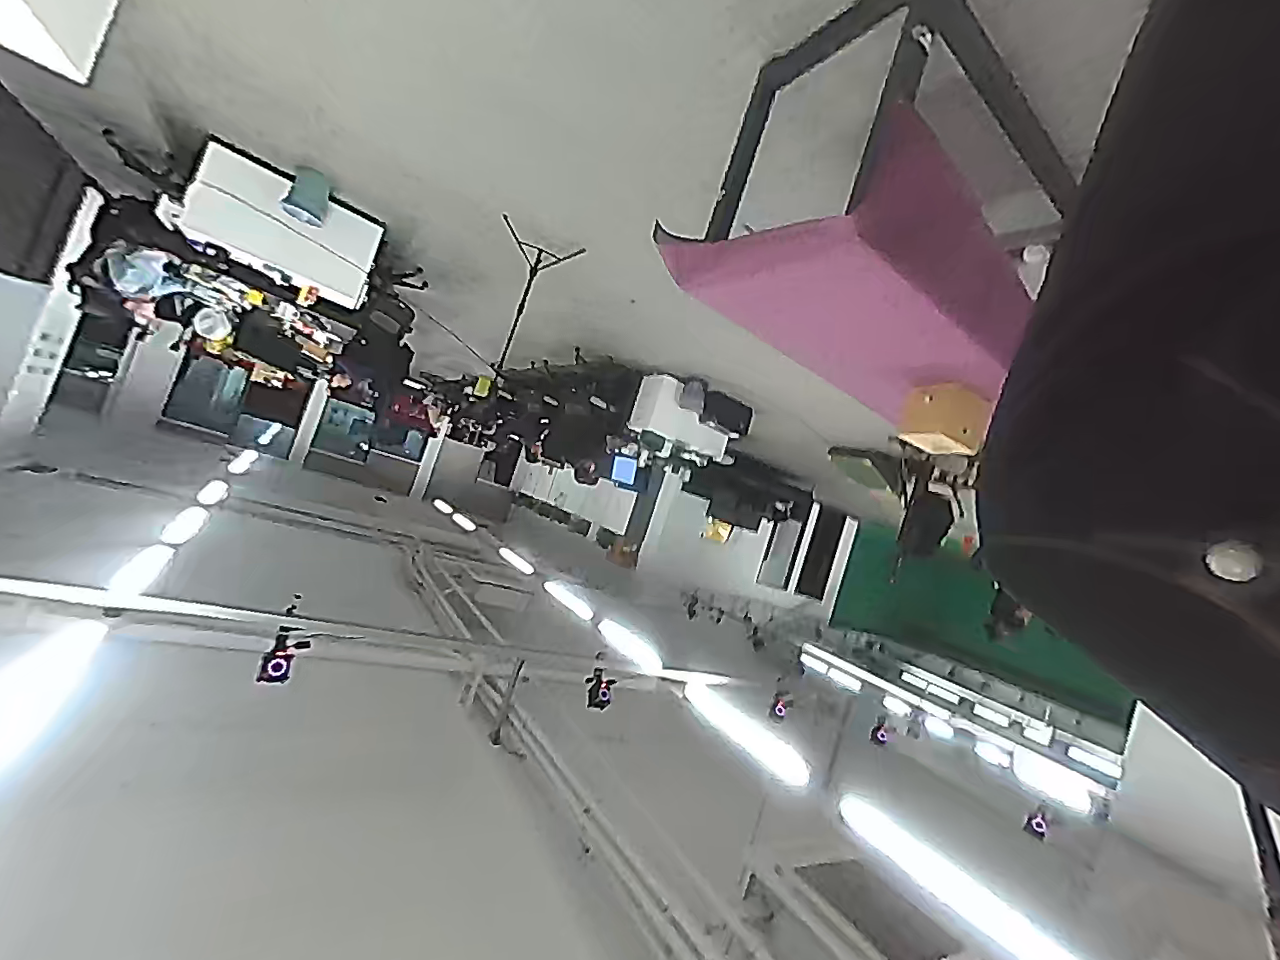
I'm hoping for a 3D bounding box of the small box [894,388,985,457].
[{"bbox_3d":[0.954,-0.183,1.719,0.179,0.176,0.168,21,176,-23],"label":"small box"}]
